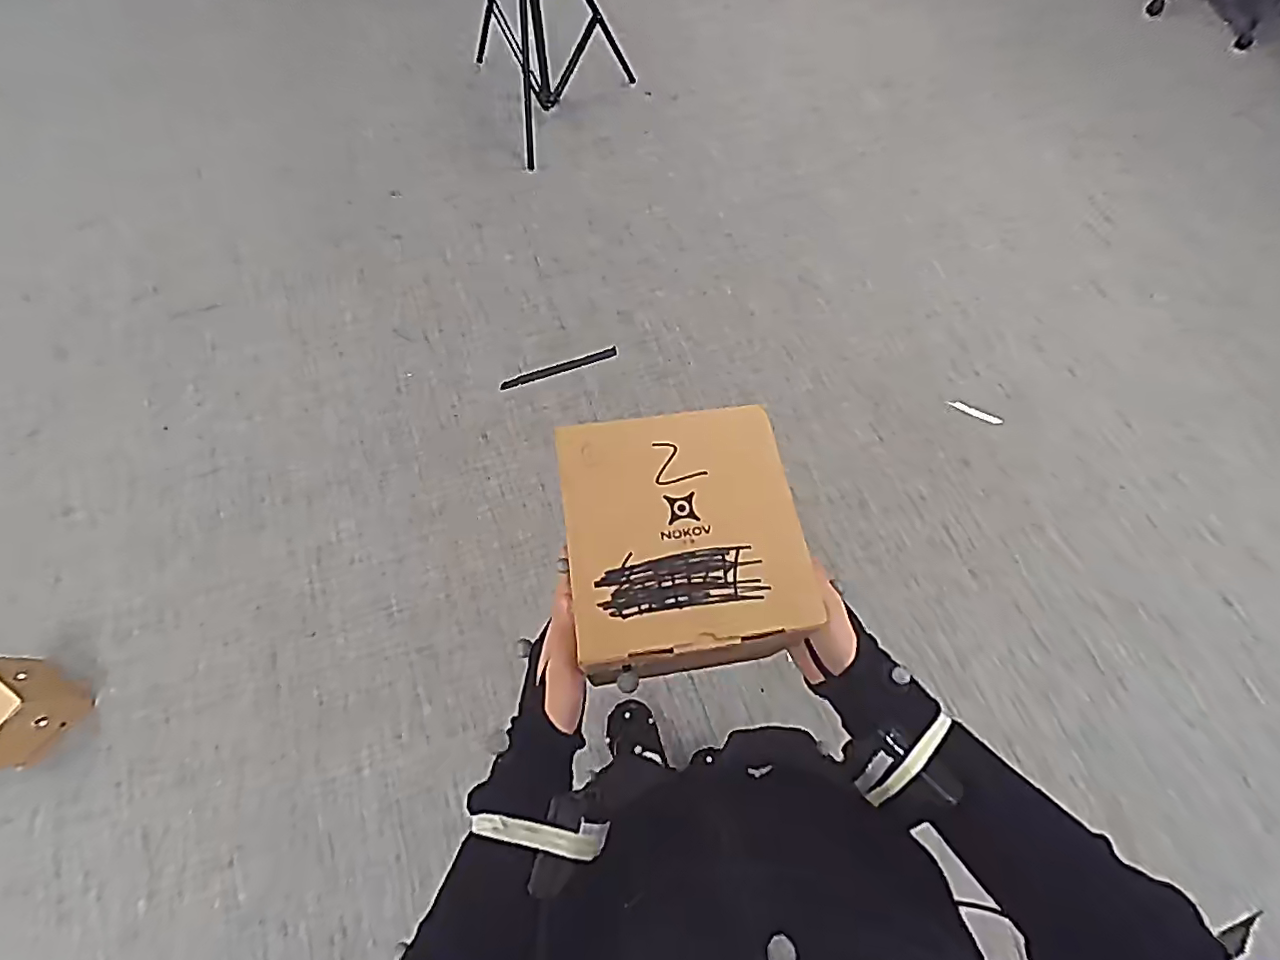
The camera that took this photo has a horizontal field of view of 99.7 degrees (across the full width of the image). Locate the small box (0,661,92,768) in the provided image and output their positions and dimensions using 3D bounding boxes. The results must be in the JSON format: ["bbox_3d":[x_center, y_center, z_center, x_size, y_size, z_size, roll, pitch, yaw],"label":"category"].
[{"bbox_3d":[-1.396,0.513,1.192,0.179,0.176,0.168,31,71,11],"label":"small box"}]
